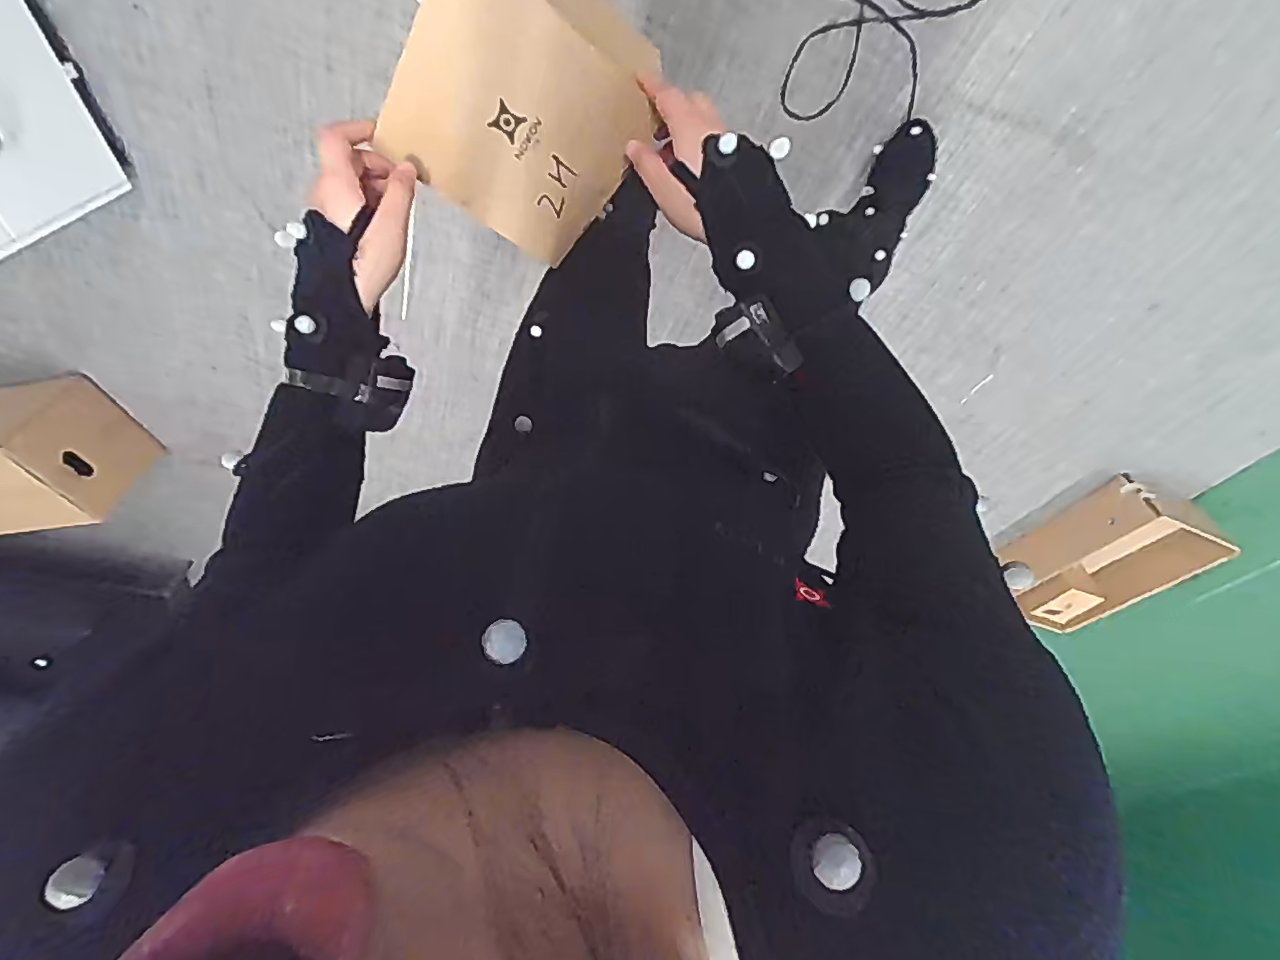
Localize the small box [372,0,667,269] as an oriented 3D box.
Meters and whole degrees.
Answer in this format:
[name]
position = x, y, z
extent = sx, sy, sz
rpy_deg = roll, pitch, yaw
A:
[small box]
position = -0.097, -0.332, 0.470
extent = 0.179, 0.176, 0.168
rpy_deg = 25, 135, -30
